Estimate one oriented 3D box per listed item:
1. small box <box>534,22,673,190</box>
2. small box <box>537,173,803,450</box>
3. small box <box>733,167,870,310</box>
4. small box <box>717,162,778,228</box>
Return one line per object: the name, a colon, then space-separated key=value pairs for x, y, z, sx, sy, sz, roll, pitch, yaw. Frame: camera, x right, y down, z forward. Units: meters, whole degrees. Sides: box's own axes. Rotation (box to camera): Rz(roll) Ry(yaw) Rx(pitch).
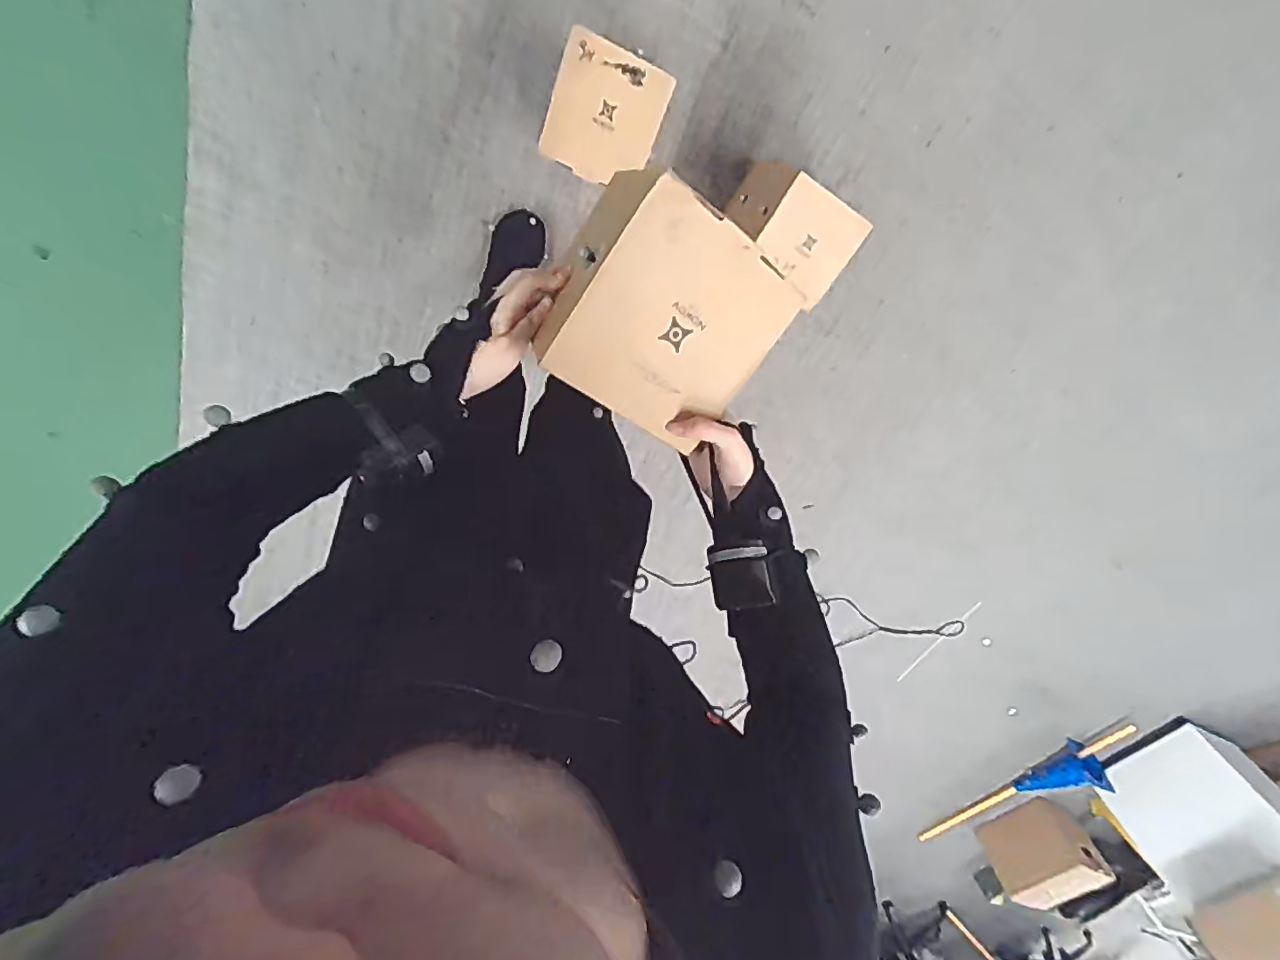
small box: x=-0.061 y=-0.593 z=0.883 sx=0.168 sy=0.176 sz=0.179 roll=18 pitch=120 yaw=-16
small box: x=0.012 y=-0.166 z=0.525 sx=0.168 sy=0.176 sz=0.179 roll=28 pitch=108 yaw=-28
small box: x=0.278 y=-0.452 z=1.004 sx=0.168 sy=0.176 sz=0.179 roll=25 pitch=118 yaw=-19
small box: x=0.263 y=-0.541 z=1.142 sx=0.168 sy=0.176 sz=0.179 roll=26 pitch=118 yaw=-20
